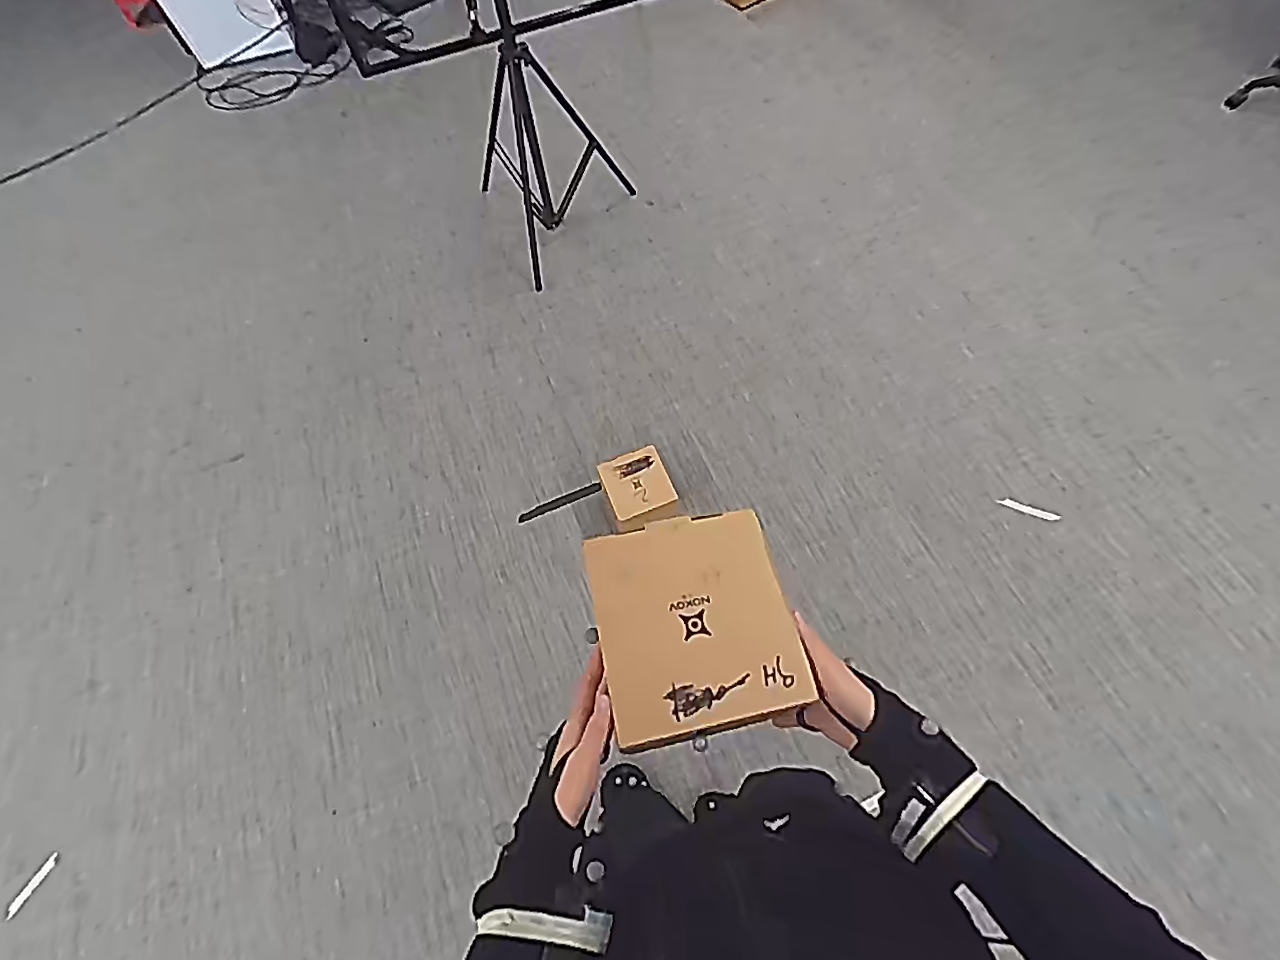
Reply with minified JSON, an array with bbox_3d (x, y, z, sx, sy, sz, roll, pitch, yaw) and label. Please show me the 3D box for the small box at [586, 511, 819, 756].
[{"bbox_3d":[0.043,0.154,0.526,0.168,0.176,0.179,-10,62,-7],"label":"small box"}]
